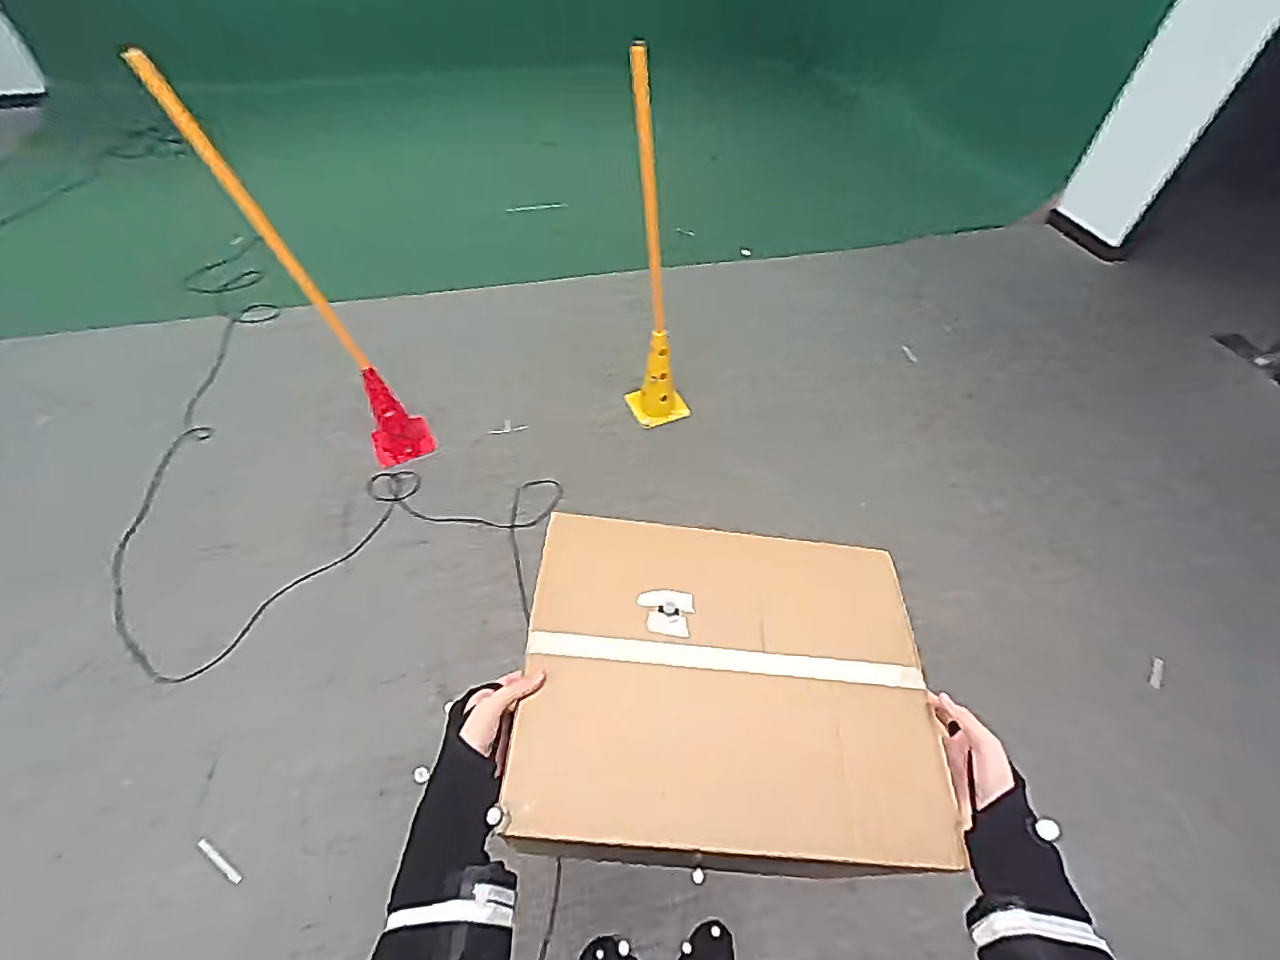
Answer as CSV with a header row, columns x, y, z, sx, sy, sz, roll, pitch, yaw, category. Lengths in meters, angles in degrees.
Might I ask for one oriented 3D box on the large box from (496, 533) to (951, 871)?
x,y,z,sx,sy,sz,roll,pitch,yaw,category
0.068,0.287,0.666,0.408,0.320,0.320,5,51,-3,large box
